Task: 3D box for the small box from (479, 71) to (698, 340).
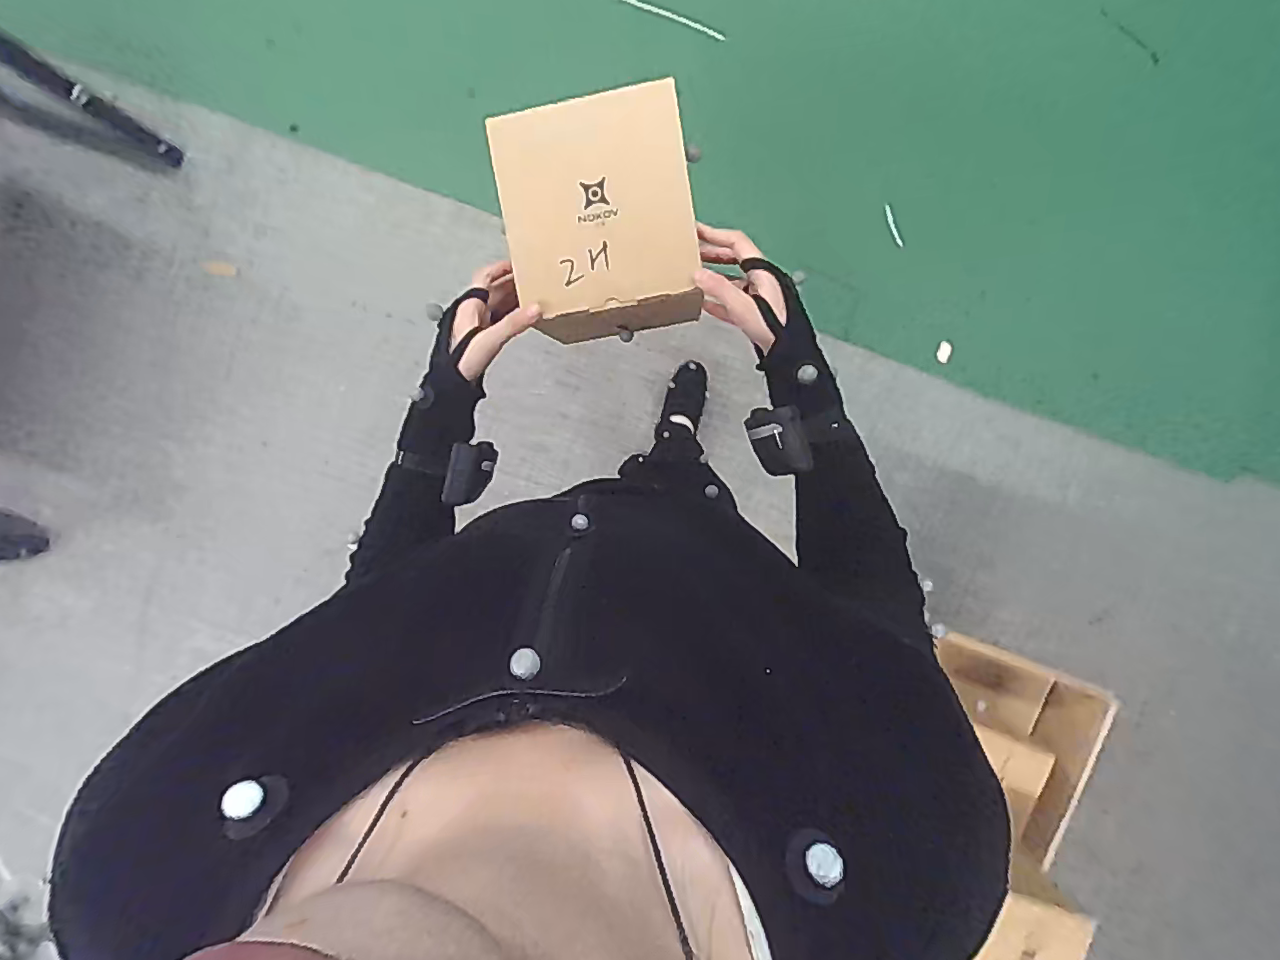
[{"bbox_3d":[-0.039,-0.251,0.540,0.168,0.176,0.179,-9,96,6],"label":"small box"}]
